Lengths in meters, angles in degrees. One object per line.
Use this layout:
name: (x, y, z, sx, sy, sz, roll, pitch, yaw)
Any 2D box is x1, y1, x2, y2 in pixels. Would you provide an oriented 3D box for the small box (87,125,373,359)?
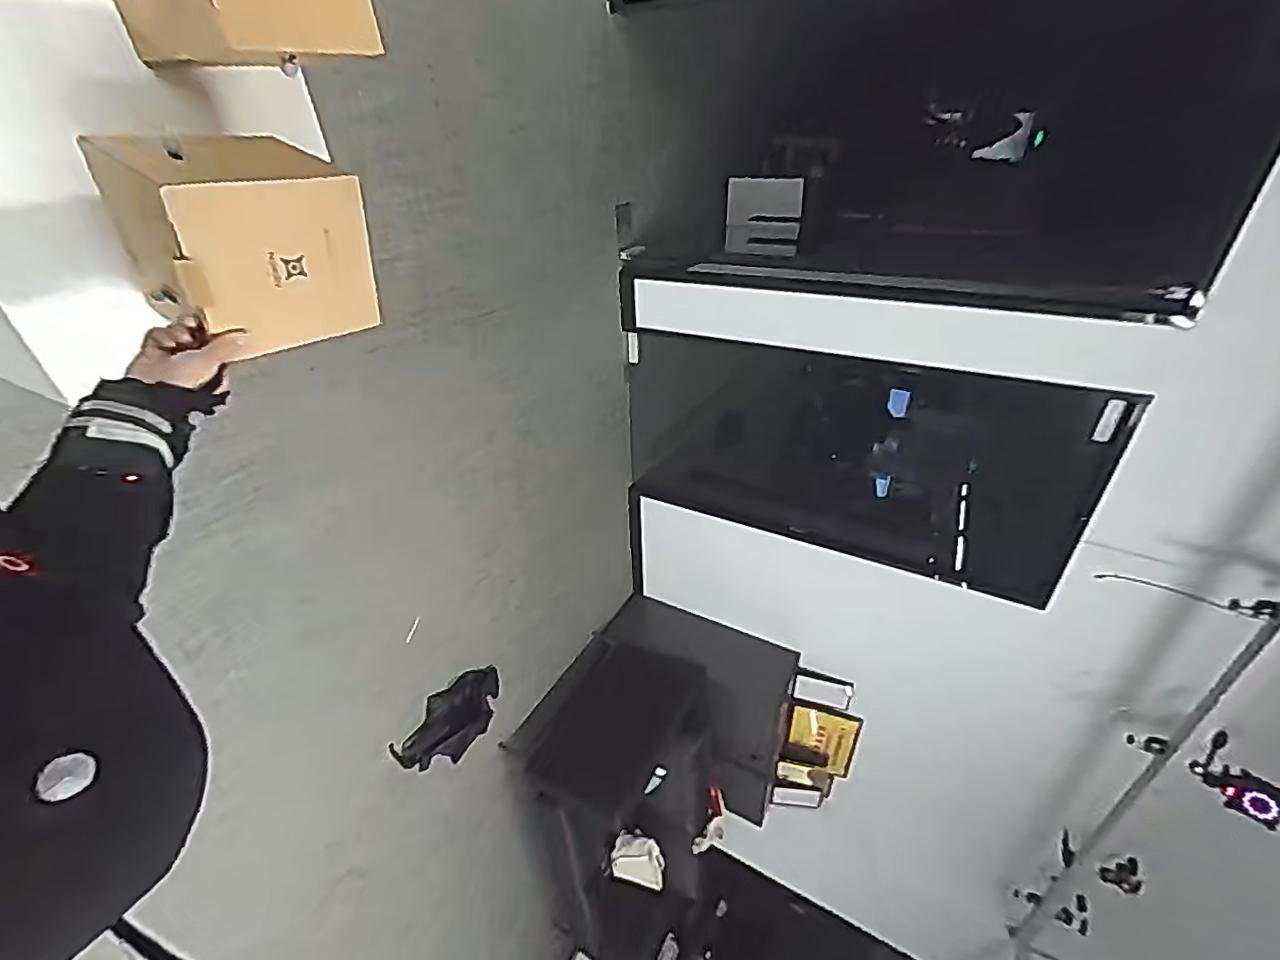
small box: (-0.417, -0.254, 0.565, 0.179, 0.176, 0.168, -37, 152, -43)

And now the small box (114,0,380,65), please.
small box: (-0.408, -0.525, 0.541, 0.179, 0.176, 0.168, -46, 144, -43)
